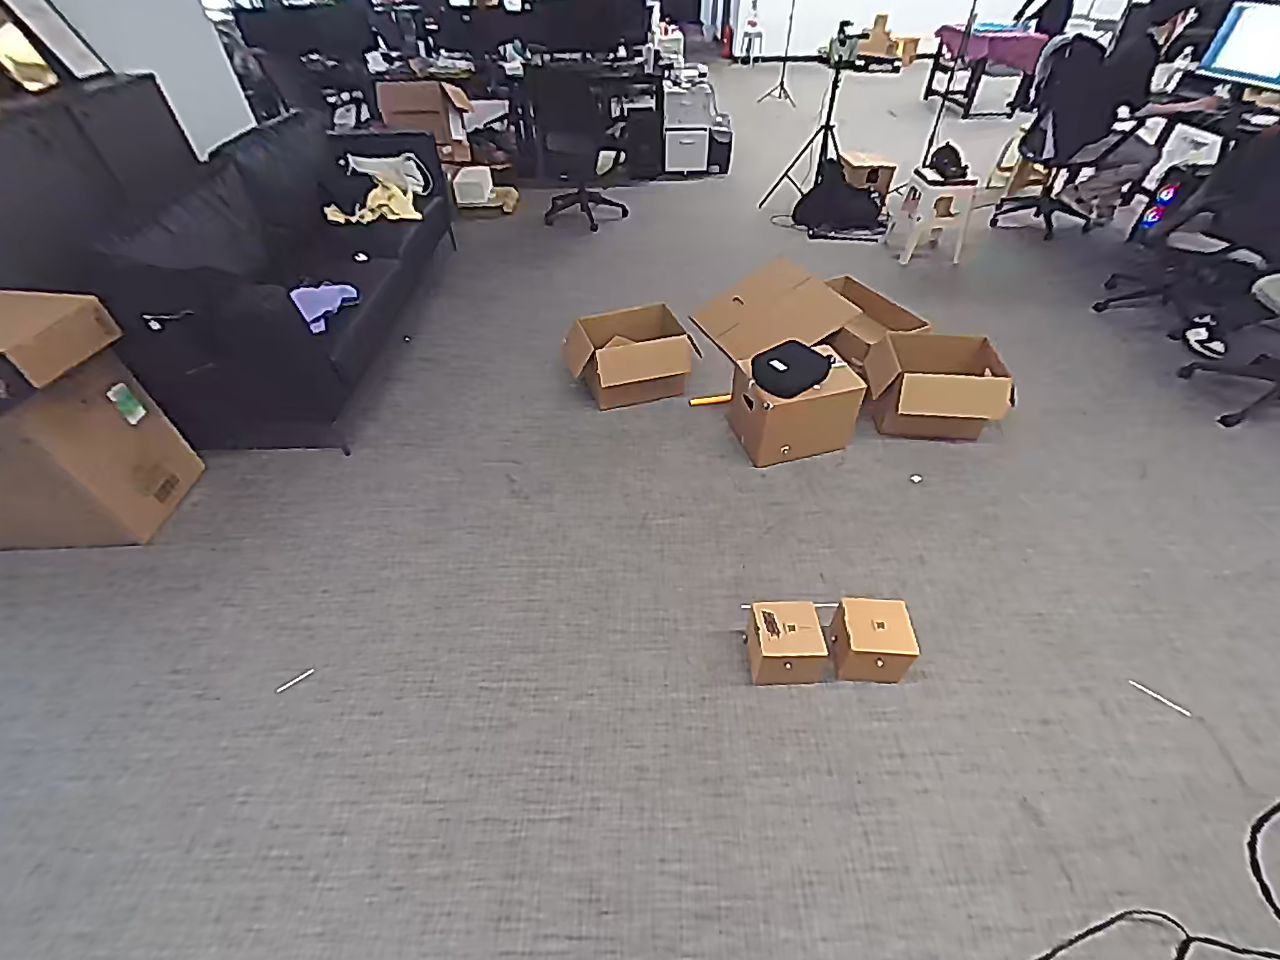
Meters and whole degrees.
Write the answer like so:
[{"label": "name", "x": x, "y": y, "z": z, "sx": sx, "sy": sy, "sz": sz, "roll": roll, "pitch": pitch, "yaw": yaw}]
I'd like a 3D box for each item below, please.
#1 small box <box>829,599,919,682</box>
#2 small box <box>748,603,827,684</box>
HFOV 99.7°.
[{"label": "small box", "x": 0.649, "y": 0.454, "z": 1.519, "sx": 0.179, "sy": 0.176, "sz": 0.168, "roll": 1, "pitch": 45, "yaw": 5}, {"label": "small box", "x": 0.403, "y": 0.461, "z": 1.518, "sx": 0.179, "sy": 0.176, "sz": 0.168, "roll": -1, "pitch": 45, "yaw": 0}]
